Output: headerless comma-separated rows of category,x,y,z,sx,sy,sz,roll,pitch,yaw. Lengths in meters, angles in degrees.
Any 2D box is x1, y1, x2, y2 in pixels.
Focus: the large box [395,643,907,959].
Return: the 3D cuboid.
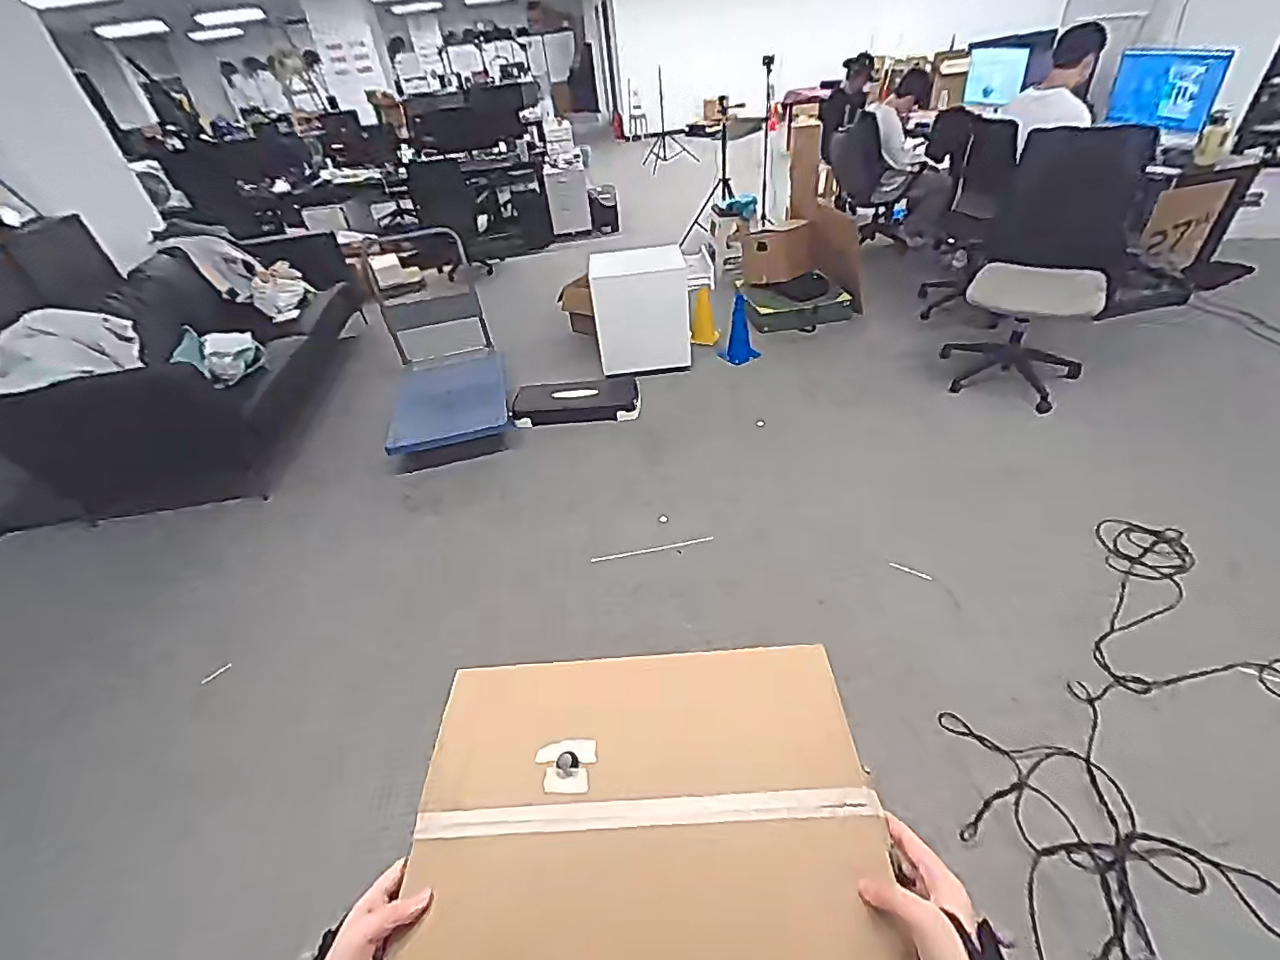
large box,0.019,0.413,0.587,0.408,0.320,0.320,-7,41,5
